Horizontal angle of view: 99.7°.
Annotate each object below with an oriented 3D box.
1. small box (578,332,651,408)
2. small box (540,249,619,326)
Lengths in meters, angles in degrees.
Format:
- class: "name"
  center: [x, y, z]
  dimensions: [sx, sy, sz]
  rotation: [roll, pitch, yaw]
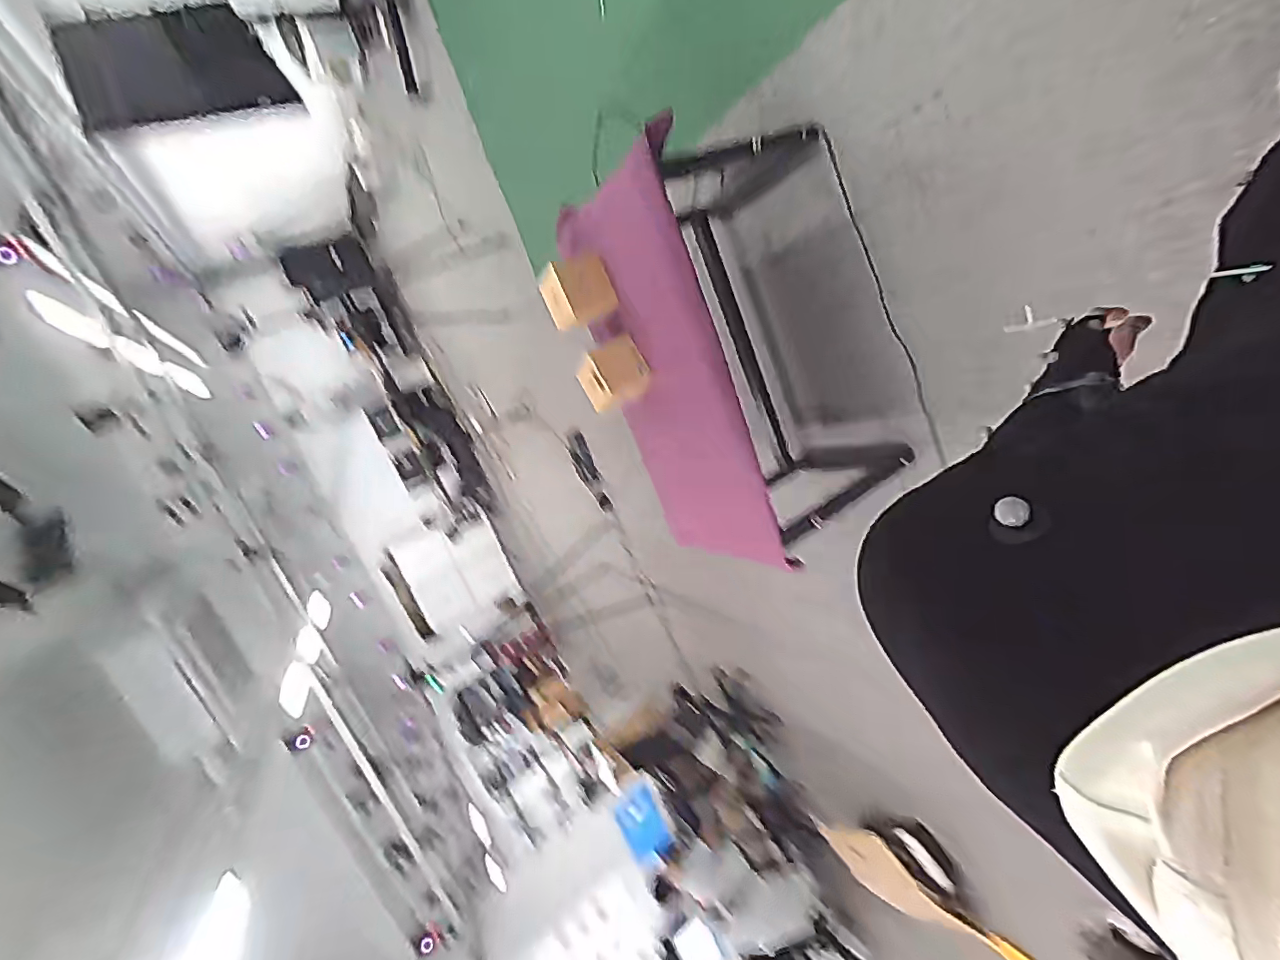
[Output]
- class: "small box"
  center: [-0.083, -0.370, 1.811]
  dimensions: [0.168, 0.176, 0.179]
  rotation: [60, 156, 4]
- class: "small box"
  center: [-0.197, -0.633, 1.765]
  dimensions: [0.168, 0.176, 0.179]
  rotation: [-7, 110, 64]
